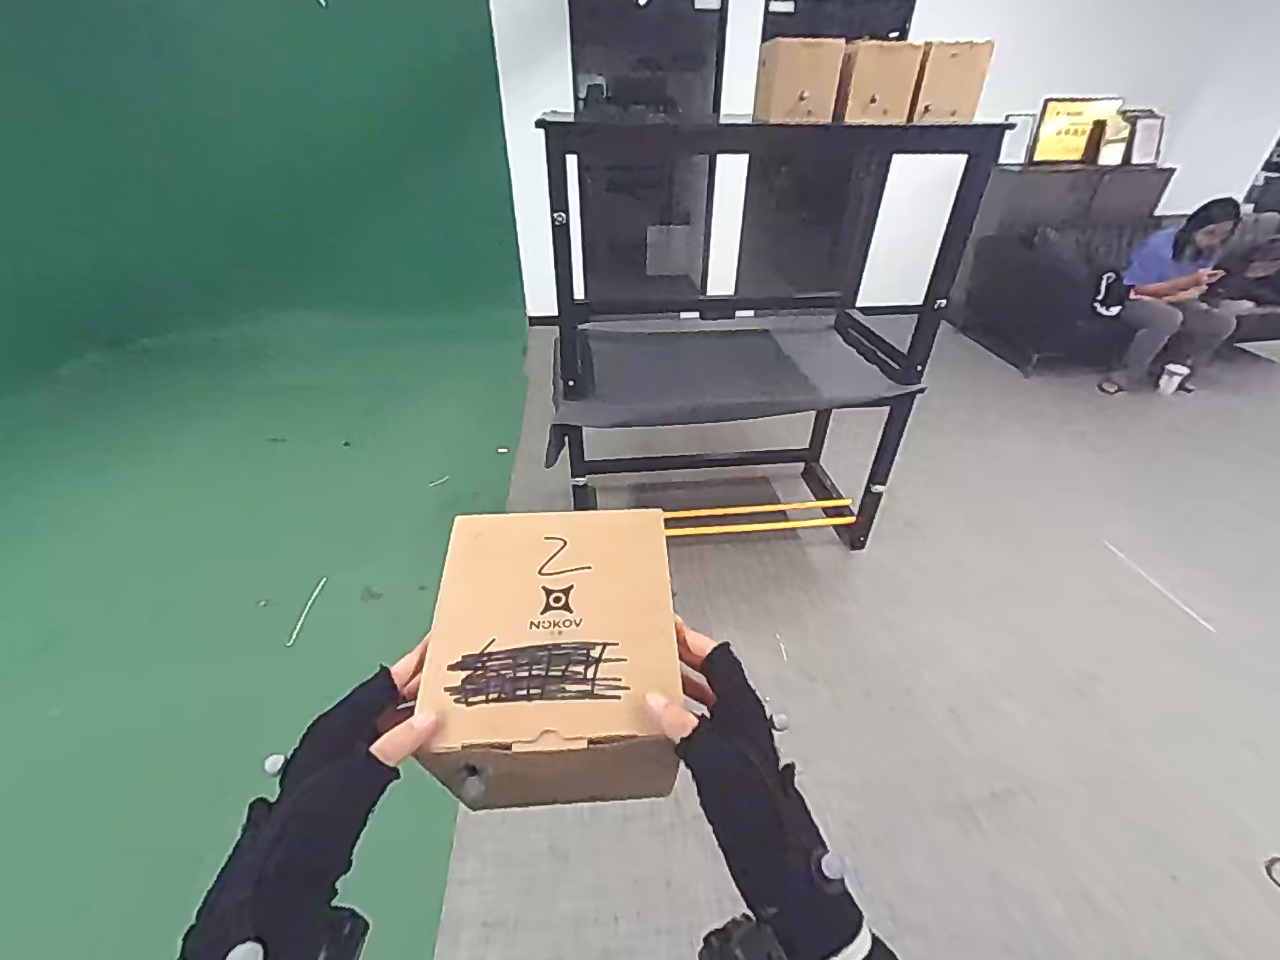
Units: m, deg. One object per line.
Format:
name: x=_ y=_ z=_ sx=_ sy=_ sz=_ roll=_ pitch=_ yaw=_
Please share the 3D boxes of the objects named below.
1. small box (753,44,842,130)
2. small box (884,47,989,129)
small box: x=0.400 y=-1.022 z=1.414 sx=0.168 sy=0.176 sz=0.179 roll=-2 pitch=35 yaw=-4
small box: x=0.781 y=-1.042 z=1.444 sx=0.168 sy=0.176 sz=0.179 roll=-2 pitch=34 yaw=-3
